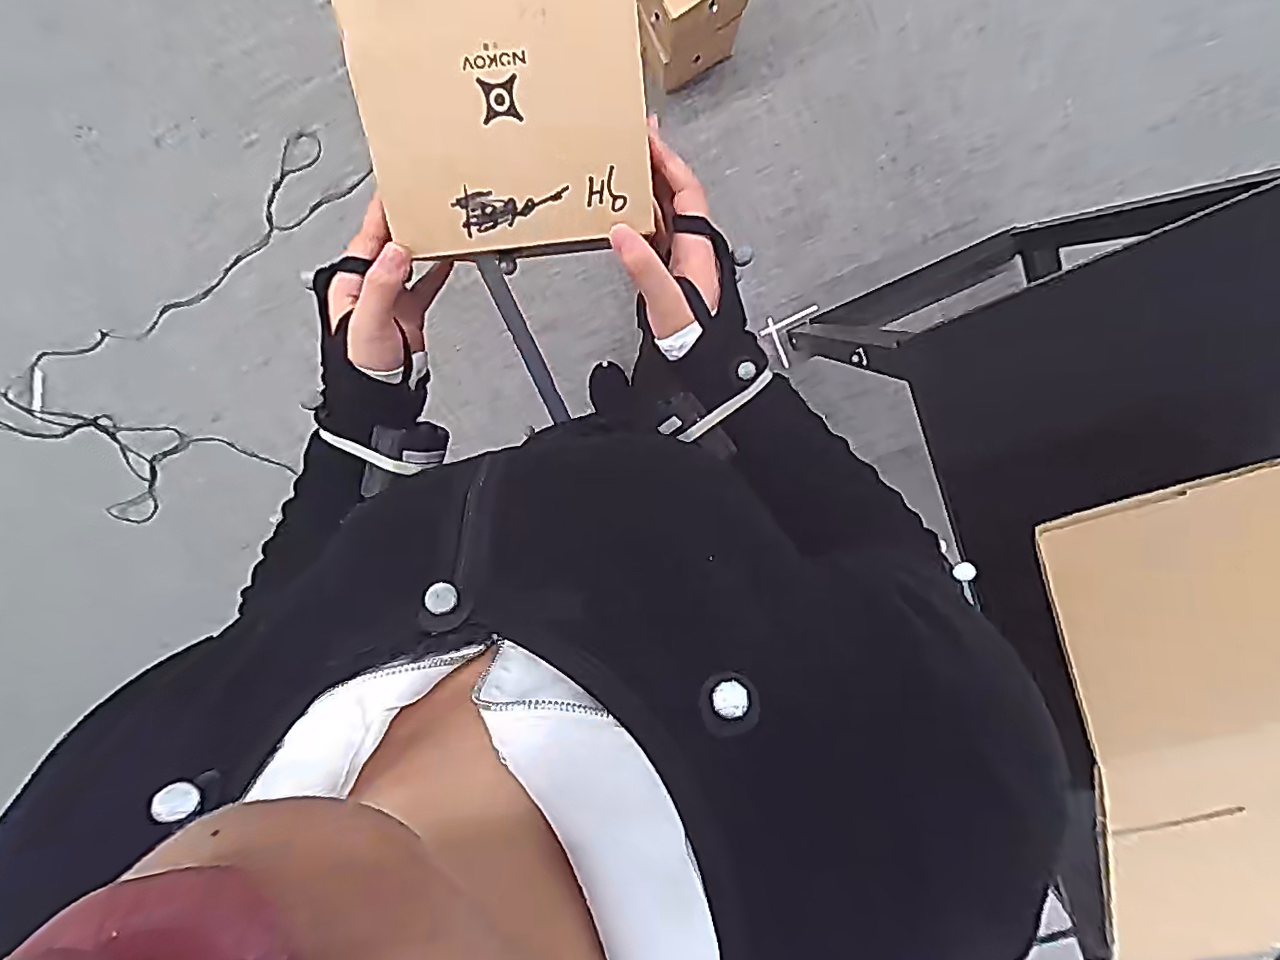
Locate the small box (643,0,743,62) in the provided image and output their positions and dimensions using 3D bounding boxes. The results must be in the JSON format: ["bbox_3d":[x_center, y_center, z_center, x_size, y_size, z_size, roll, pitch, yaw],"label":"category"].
[{"bbox_3d":[0.086,-0.910,0.971,0.179,0.176,0.168,-30,105,9],"label":"small box"}]

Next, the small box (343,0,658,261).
[{"bbox_3d":[-0.080,-0.258,0.382,0.168,0.176,0.179,-6,110,1],"label":"small box"}]

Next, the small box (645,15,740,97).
[{"bbox_3d":[0.086,-0.953,1.128,0.179,0.176,0.168,-26,104,10],"label":"small box"}]
